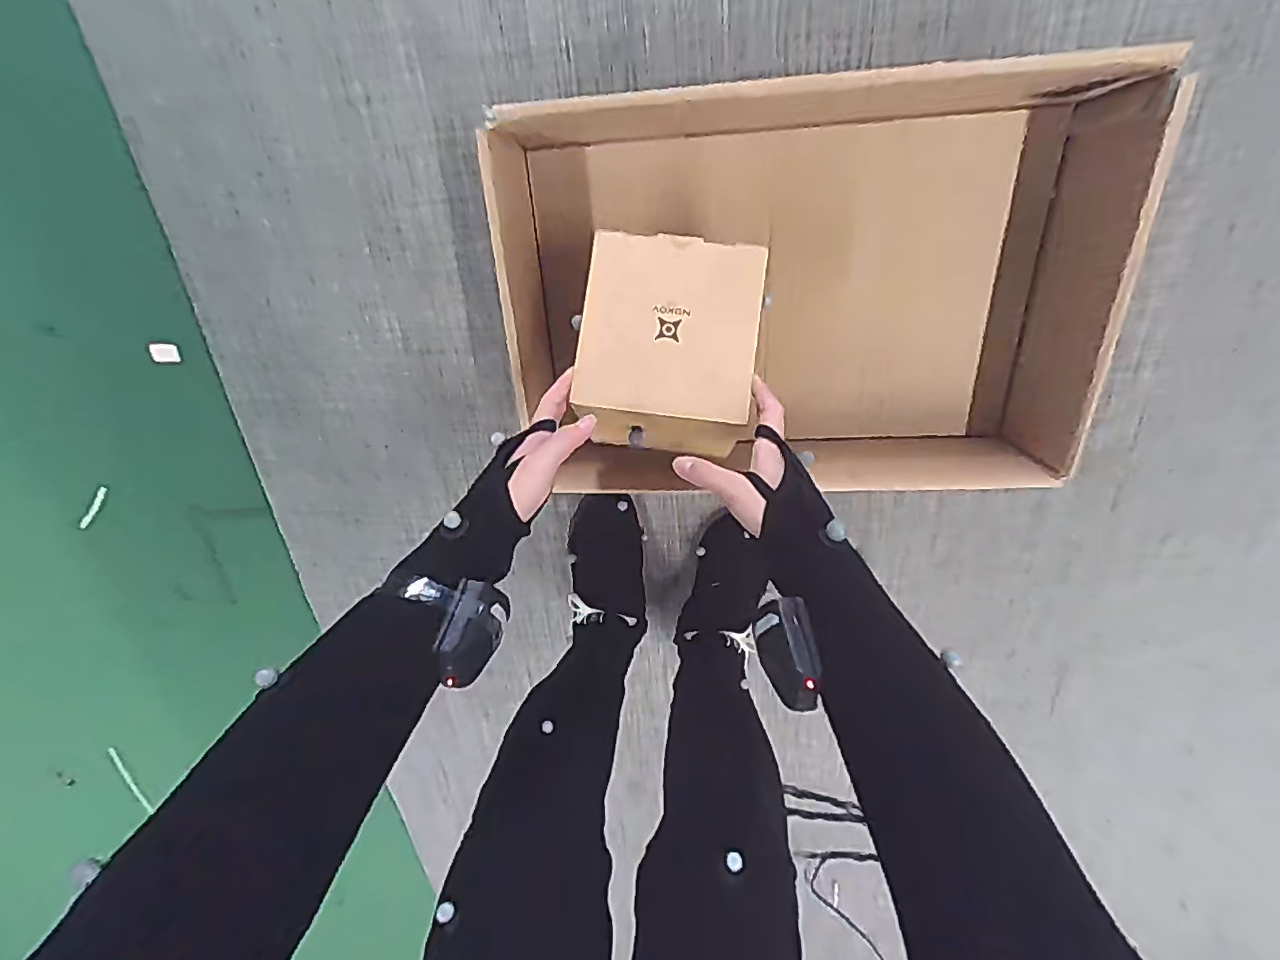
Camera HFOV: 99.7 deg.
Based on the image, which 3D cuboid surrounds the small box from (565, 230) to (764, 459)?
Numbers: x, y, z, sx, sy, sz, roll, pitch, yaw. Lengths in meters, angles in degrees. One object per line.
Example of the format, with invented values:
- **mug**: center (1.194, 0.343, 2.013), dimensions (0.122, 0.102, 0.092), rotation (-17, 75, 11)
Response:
- **small box**: center (0.028, -0.128, 0.571), dimensions (0.168, 0.176, 0.179), rotation (7, 78, 4)
